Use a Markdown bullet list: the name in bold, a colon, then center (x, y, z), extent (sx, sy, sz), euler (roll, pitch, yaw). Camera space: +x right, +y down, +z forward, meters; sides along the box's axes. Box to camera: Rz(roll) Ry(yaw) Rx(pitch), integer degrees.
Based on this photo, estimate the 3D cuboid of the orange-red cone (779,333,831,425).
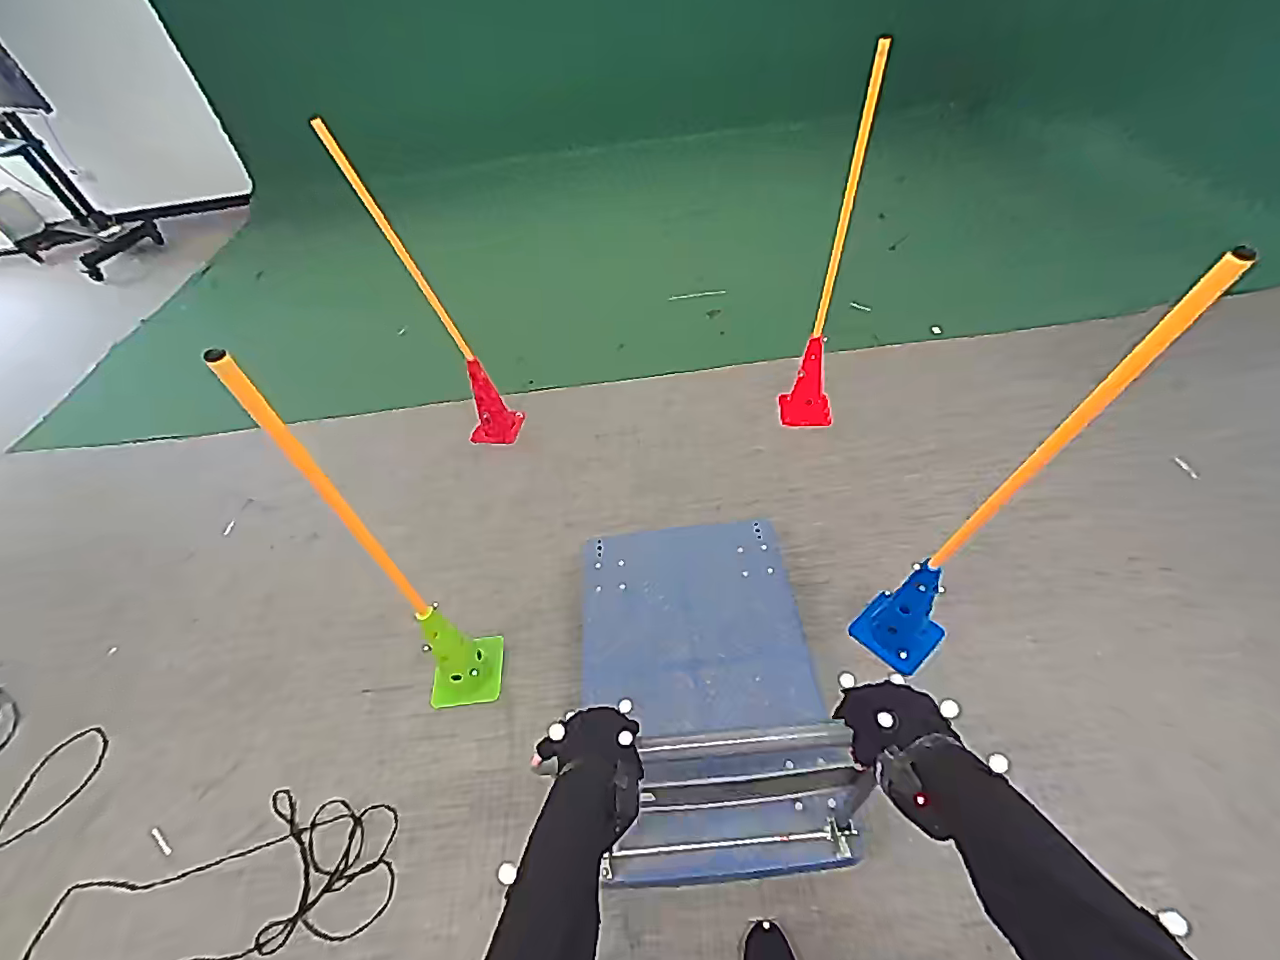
- **orange-red cone**: center (0.656, -0.404, 2.088), extent (0.198, 0.360, 0.199), euler (1, 49, 9)
